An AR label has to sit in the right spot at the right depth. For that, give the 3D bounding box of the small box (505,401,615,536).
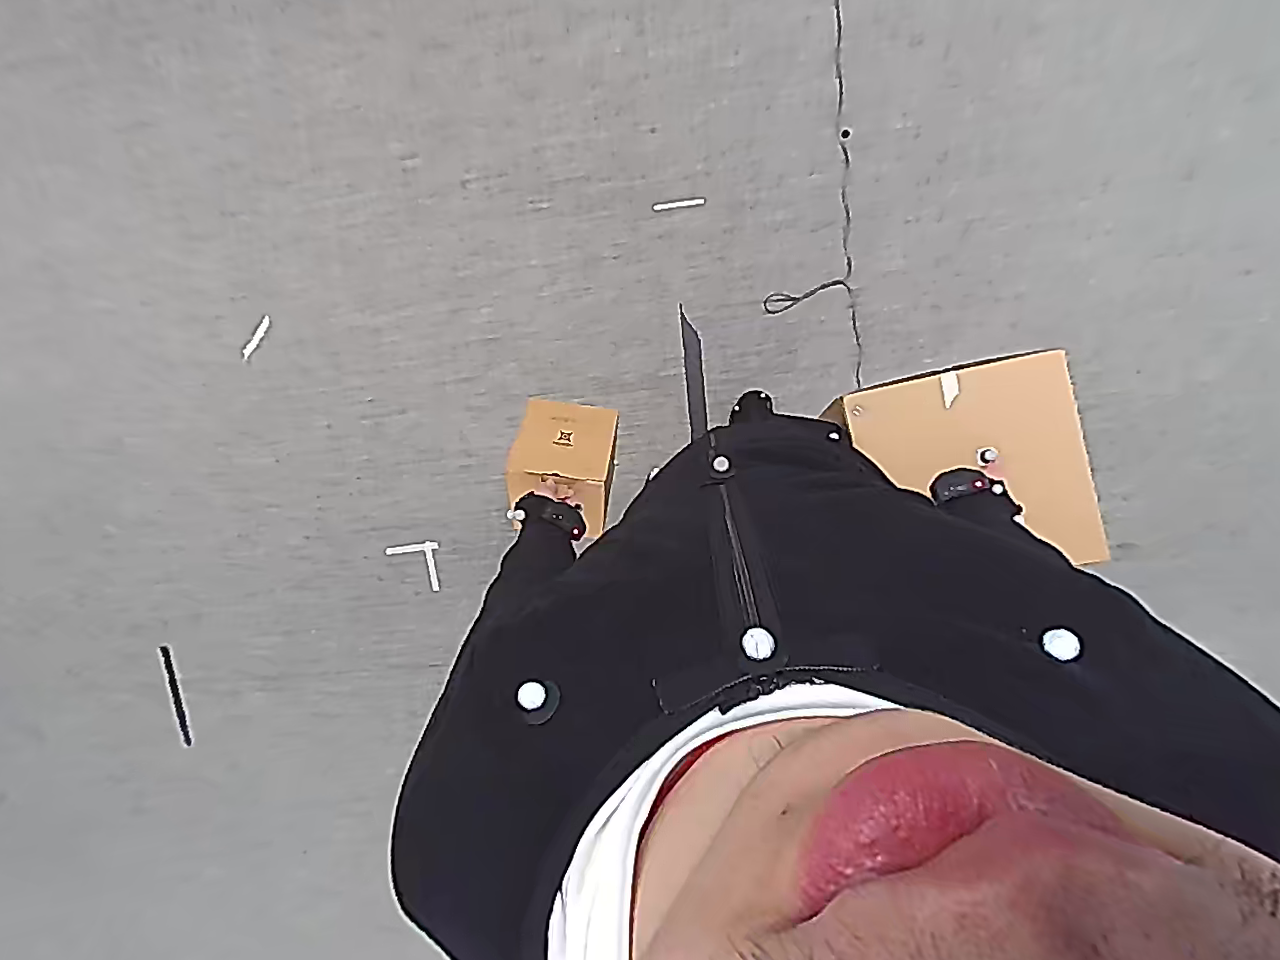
[{"bbox_3d":[-0.140,-0.017,0.995,0.168,0.179,0.176,8,138,-2],"label":"small box"}]
